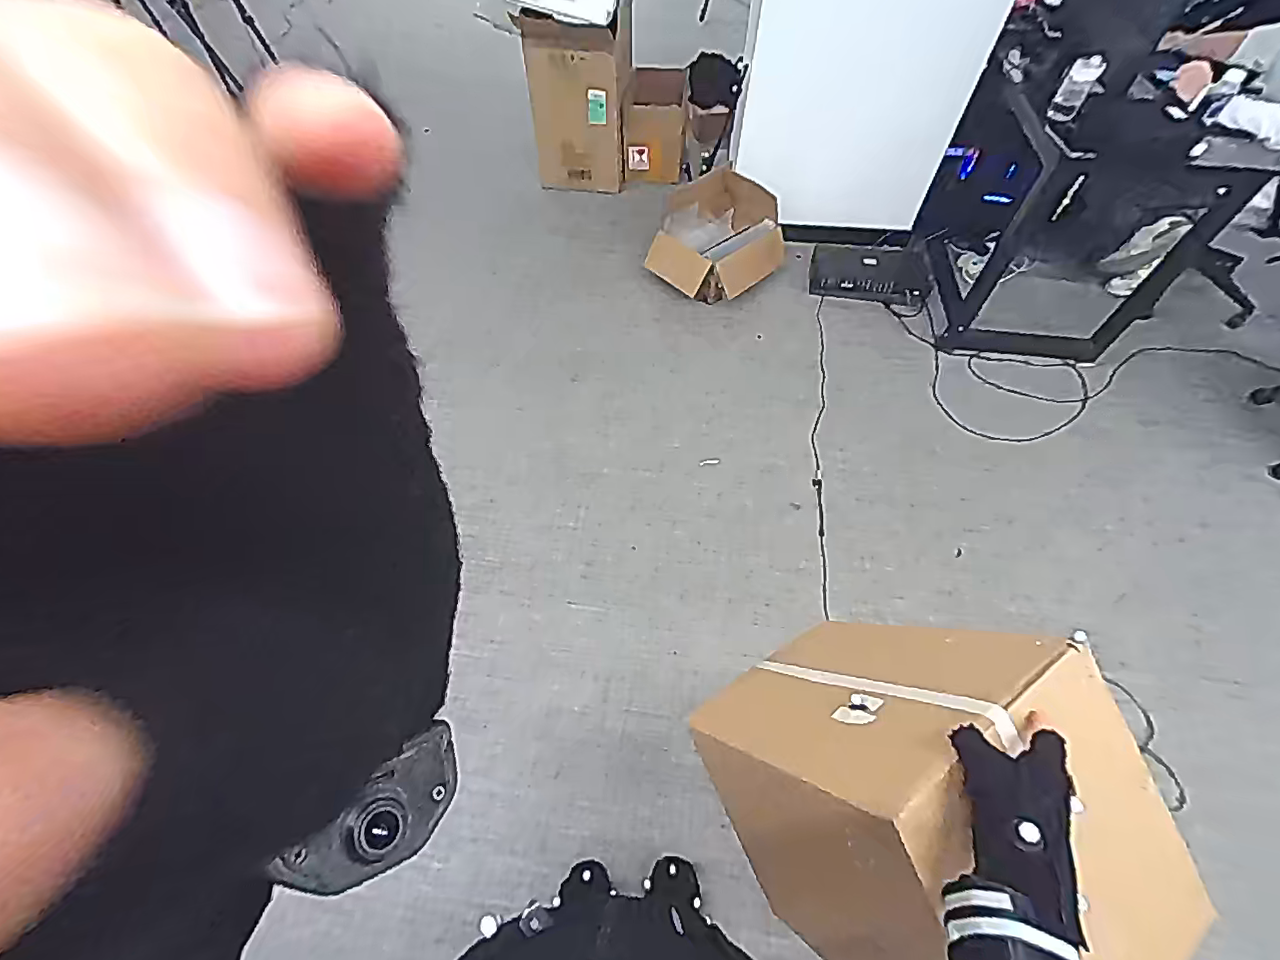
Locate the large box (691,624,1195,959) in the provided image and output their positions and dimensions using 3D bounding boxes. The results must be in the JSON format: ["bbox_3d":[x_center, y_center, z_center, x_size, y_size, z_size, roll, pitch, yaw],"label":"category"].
[{"bbox_3d":[0.333,0.404,0.693,0.320,0.408,0.320,-24,89,-23],"label":"large box"}]
